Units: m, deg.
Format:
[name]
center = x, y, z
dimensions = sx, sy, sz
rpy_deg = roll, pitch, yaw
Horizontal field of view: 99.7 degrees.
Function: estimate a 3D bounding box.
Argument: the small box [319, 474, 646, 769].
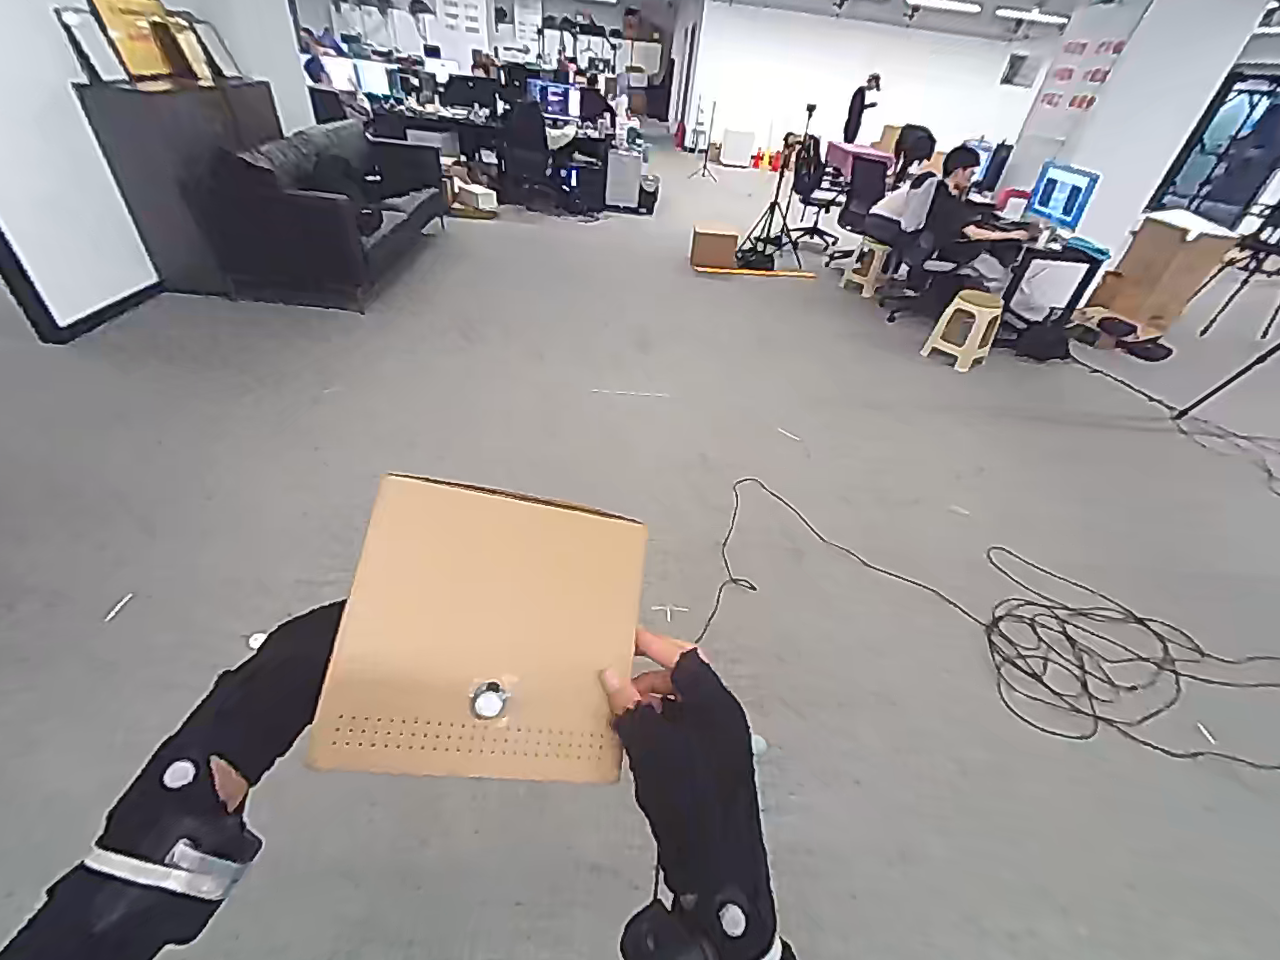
[small box]
center = -0.110, 0.110, 0.411
dimensions = 0.179, 0.168, 0.176
rpy_deg = 11, 71, -15
